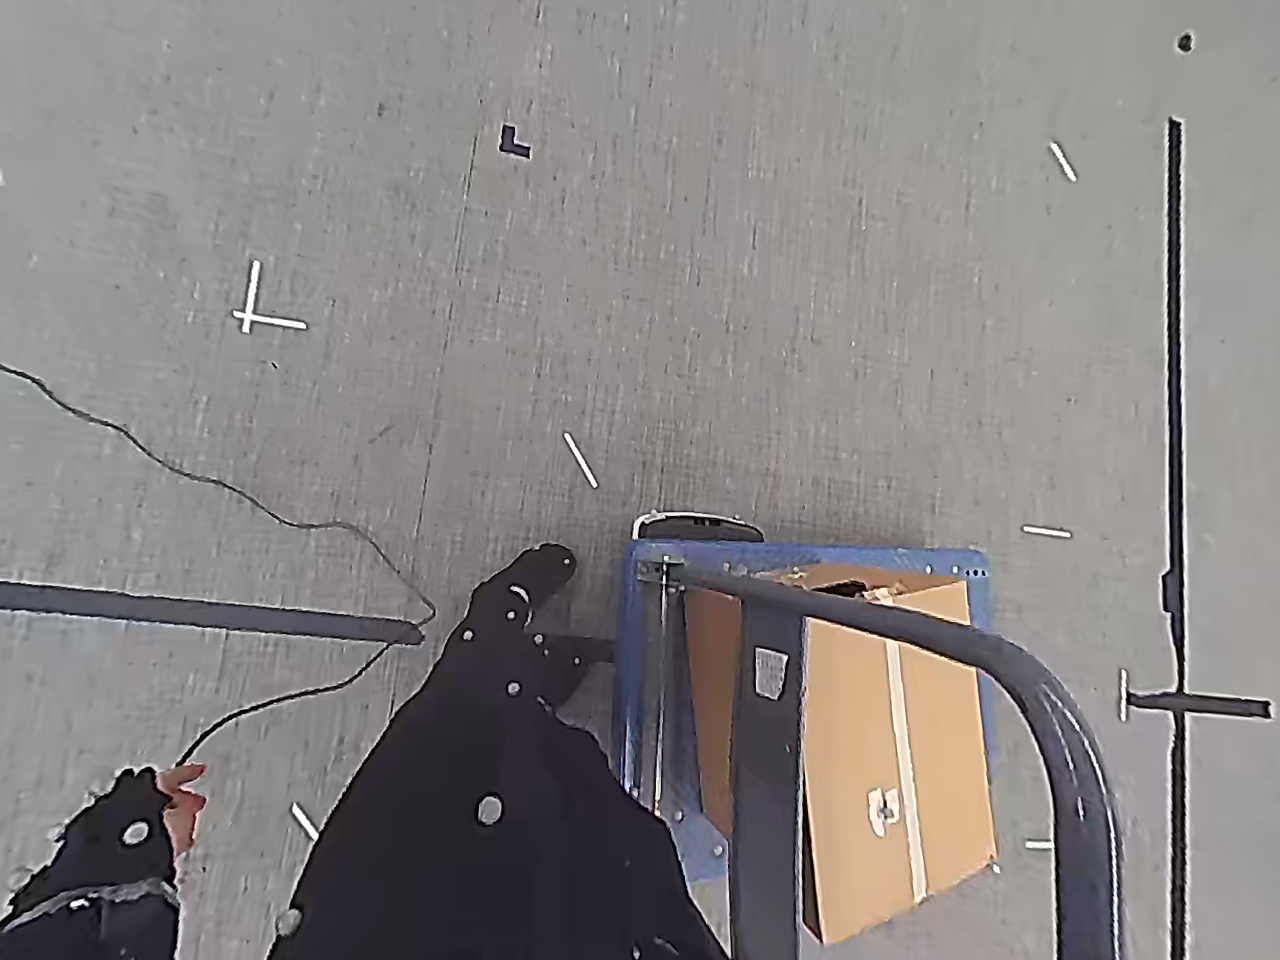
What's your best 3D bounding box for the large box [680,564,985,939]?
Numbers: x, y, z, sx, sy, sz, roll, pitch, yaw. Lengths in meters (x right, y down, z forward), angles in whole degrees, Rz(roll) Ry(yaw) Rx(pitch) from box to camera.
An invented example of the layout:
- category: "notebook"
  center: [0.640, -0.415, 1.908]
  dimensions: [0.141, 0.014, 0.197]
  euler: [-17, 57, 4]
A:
- category: "large box"
  center: [0.282, 0.367, 0.864]
  dimensions: [0.320, 0.320, 0.408]
  euler: [-5, 88, -21]
